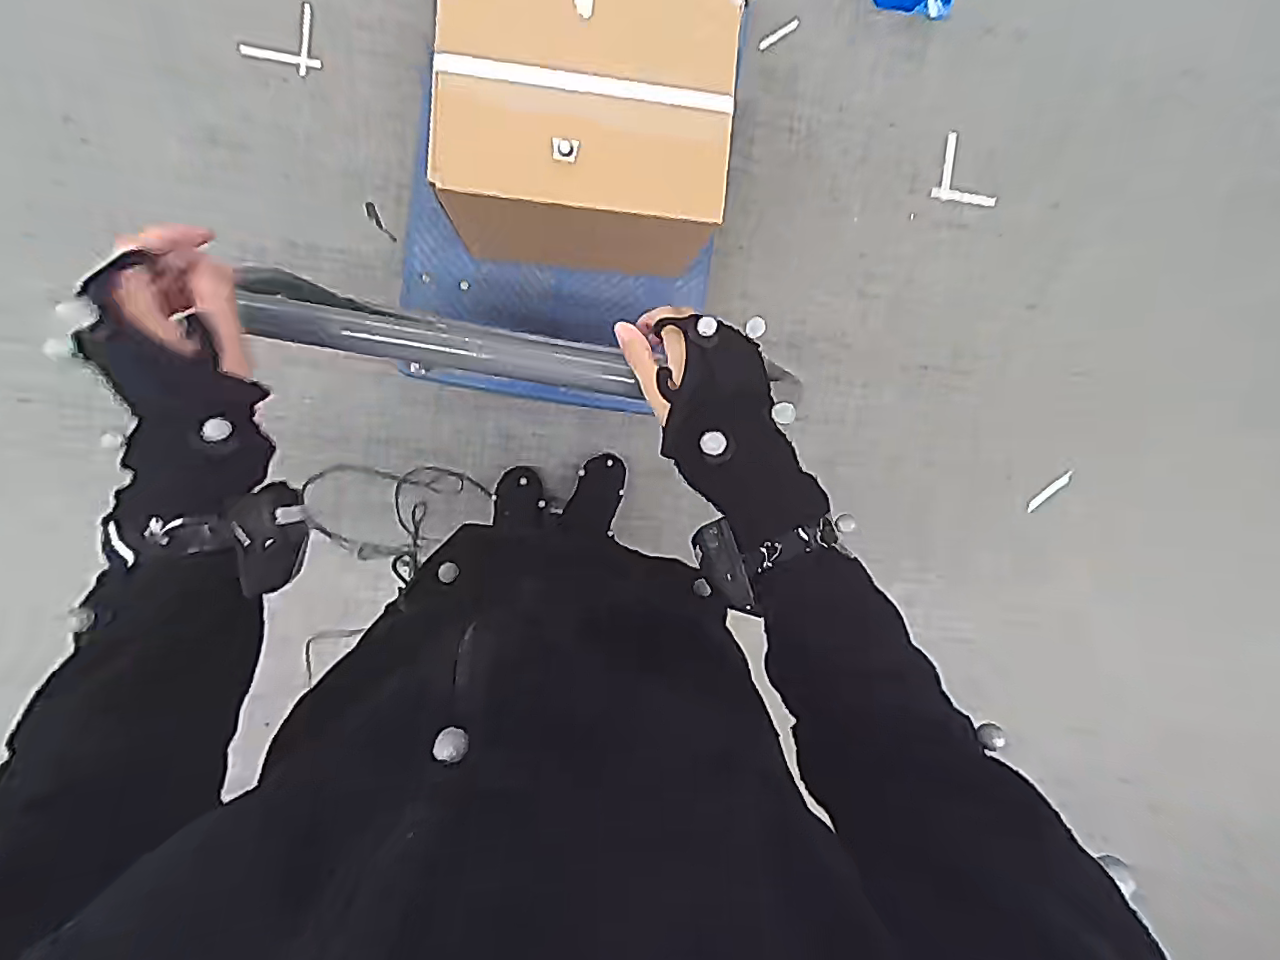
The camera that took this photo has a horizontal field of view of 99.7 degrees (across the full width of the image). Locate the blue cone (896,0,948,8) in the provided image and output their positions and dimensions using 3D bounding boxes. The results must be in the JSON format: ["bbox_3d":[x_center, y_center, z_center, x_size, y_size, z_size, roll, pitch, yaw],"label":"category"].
[{"bbox_3d":[0.666,-1.187,1.088,0.193,0.380,0.192,3,94,-8],"label":"blue cone"}]
